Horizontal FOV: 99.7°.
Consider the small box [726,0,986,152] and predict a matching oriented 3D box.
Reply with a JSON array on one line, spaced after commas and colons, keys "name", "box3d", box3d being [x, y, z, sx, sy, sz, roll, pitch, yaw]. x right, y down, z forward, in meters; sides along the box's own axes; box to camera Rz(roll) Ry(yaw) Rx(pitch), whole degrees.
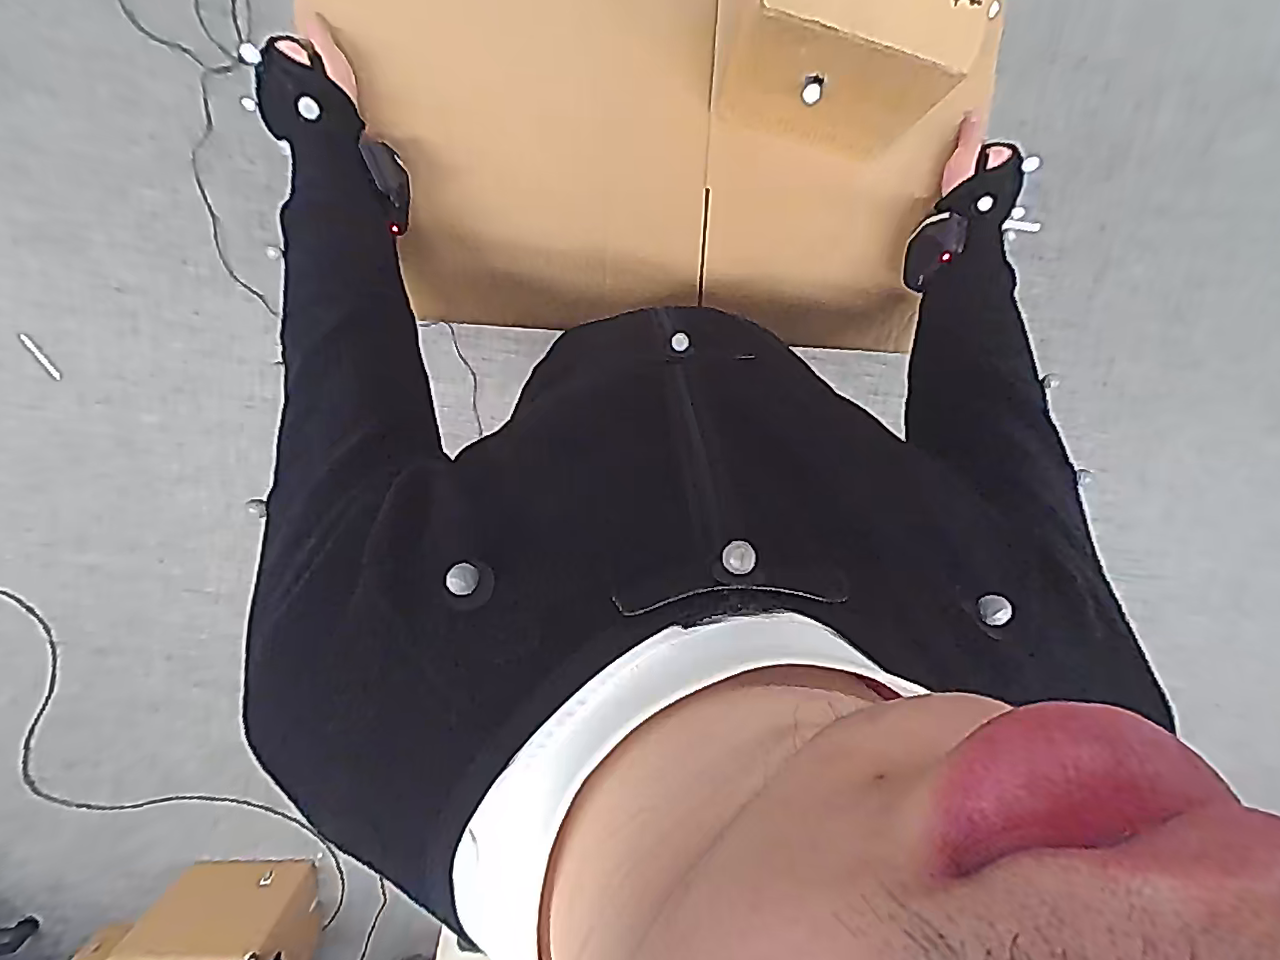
[{"name": "small box", "box3d": [0.190, -0.431, 0.487, 0.179, 0.176, 0.168, 14, 99, -4]}]
